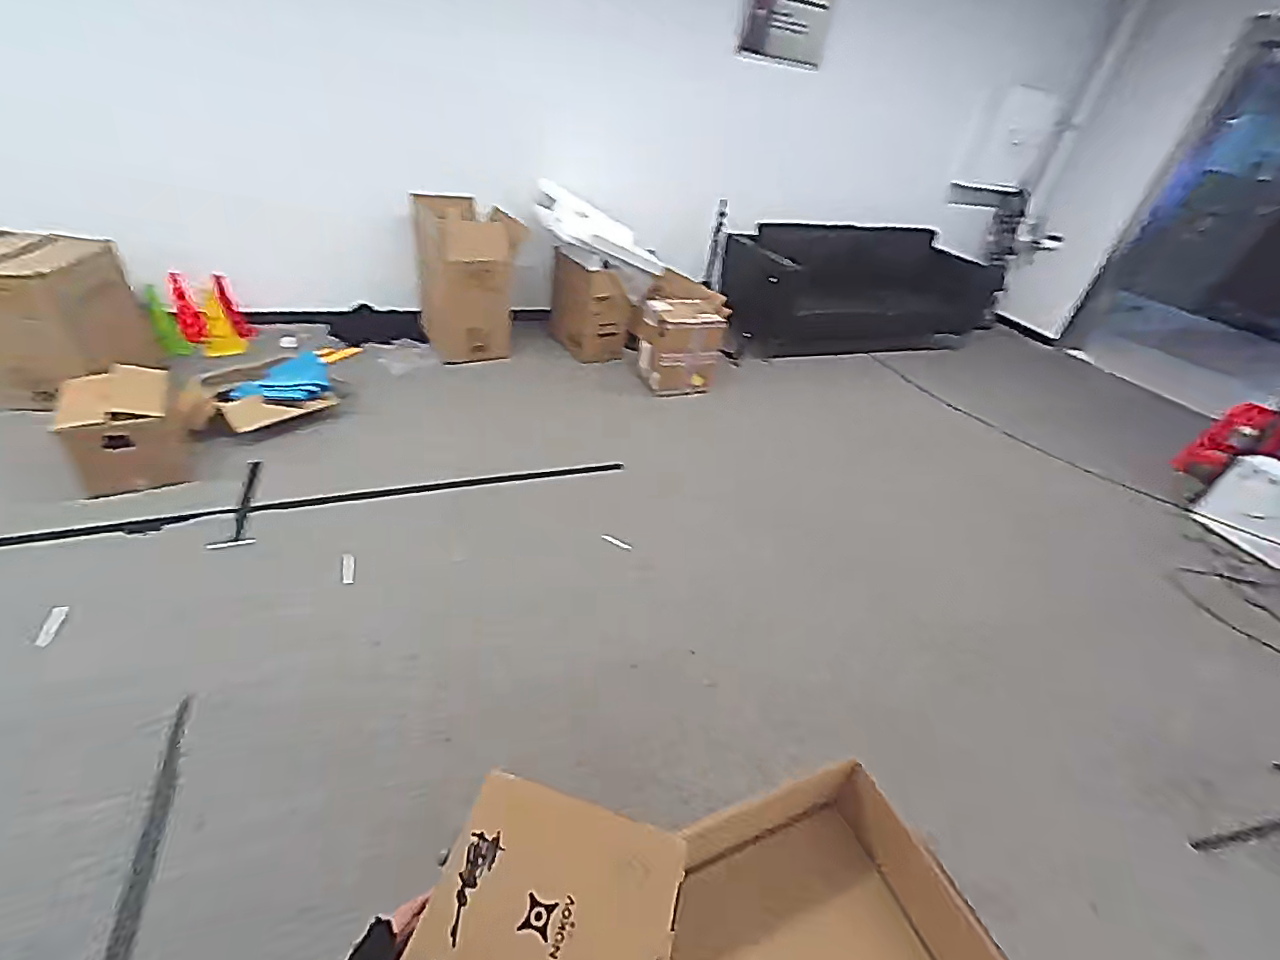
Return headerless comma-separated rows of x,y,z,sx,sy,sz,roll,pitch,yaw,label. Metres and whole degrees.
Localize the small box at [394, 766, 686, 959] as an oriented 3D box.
-0.078,0.371,0.433,0.179,0.176,0.168,16,39,7,small box
